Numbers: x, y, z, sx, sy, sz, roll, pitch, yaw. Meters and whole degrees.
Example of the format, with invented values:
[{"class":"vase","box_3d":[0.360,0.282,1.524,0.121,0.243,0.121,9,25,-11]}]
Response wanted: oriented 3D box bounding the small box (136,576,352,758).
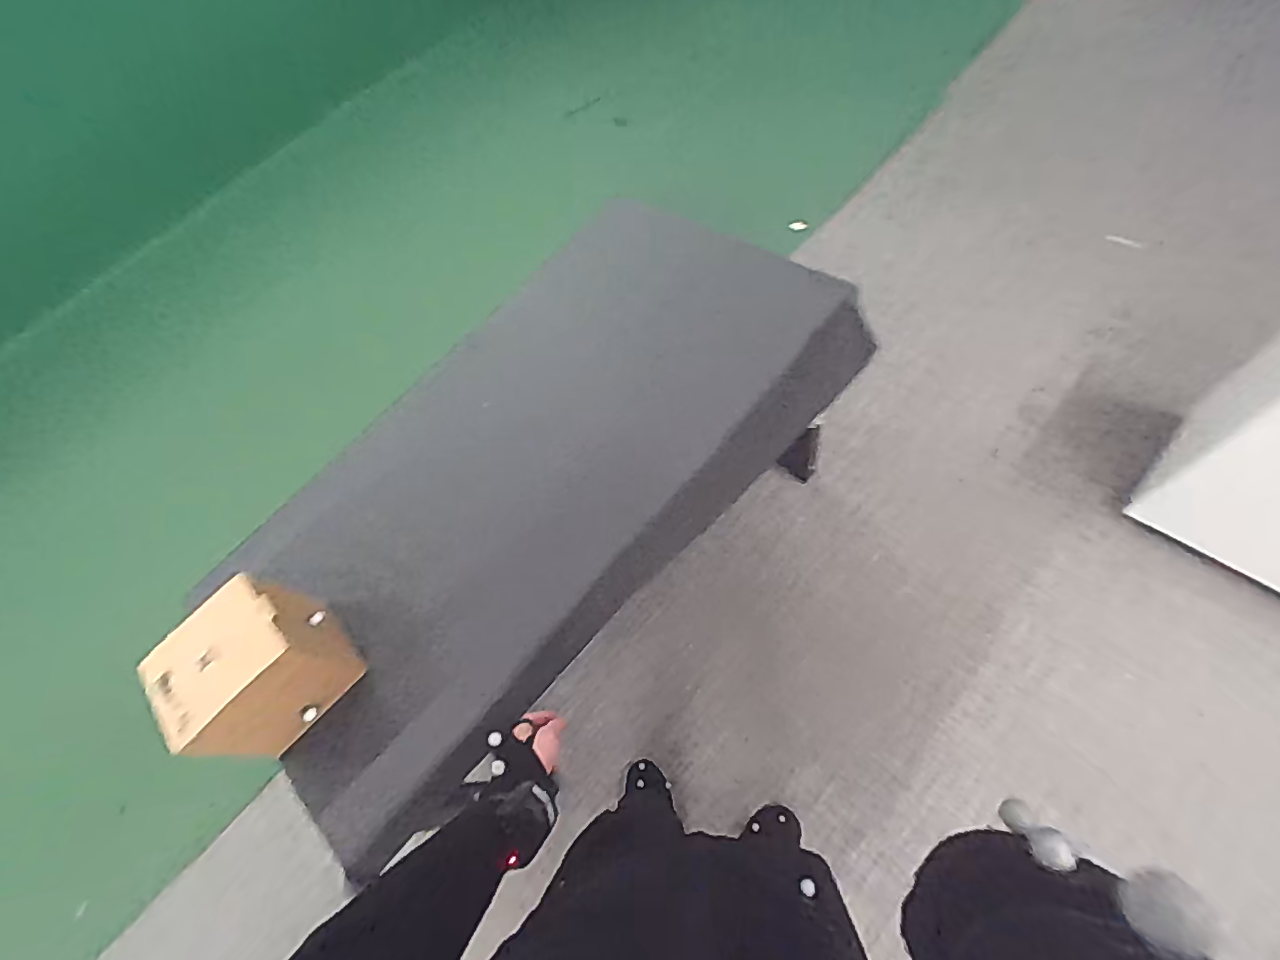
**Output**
[{"class":"small box","box_3d":[-0.561,0.277,0.791,0.168,0.176,0.179,37,76,28]}]
